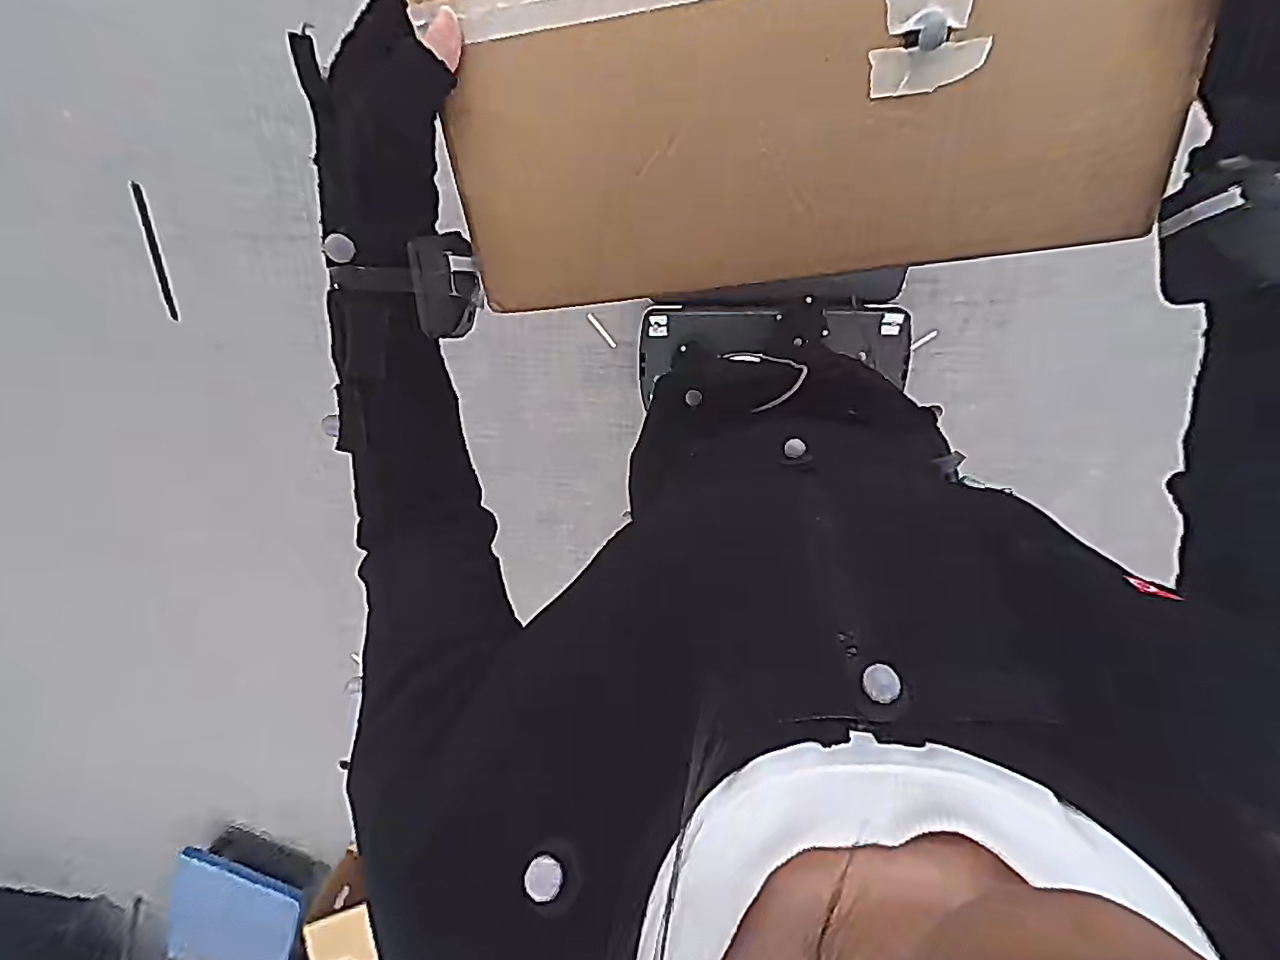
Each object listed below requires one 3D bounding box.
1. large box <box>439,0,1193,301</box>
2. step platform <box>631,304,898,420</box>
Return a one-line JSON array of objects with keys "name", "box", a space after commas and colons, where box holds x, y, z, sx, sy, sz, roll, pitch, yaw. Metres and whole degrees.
[{"name": "large box", "box": [0.093, -0.346, 0.413, 0.408, 0.320, 0.320, -4, 119, 8]}, {"name": "step platform", "box": [0.317, -0.315, 1.453, 0.684, 0.204, 0.286, 2, 109, 9]}]
